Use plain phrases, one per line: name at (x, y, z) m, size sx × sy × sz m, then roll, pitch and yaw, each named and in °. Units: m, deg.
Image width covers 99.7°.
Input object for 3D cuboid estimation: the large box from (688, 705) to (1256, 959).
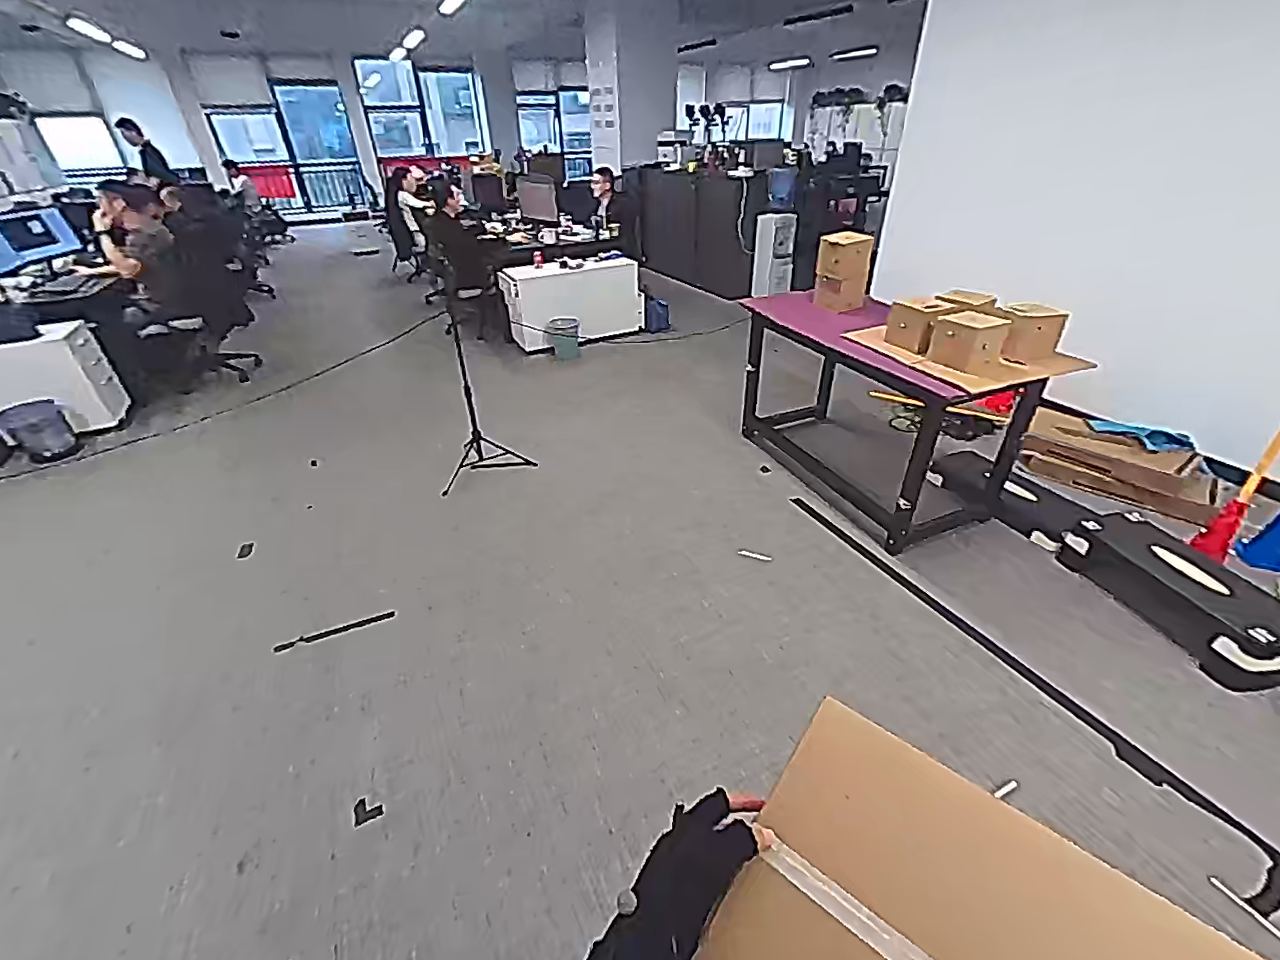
large box at (0.275, 0.507, 0.512) m, size 0.408 × 0.320 × 0.320 m, roll 27°, pitch 55°, yaw 29°
